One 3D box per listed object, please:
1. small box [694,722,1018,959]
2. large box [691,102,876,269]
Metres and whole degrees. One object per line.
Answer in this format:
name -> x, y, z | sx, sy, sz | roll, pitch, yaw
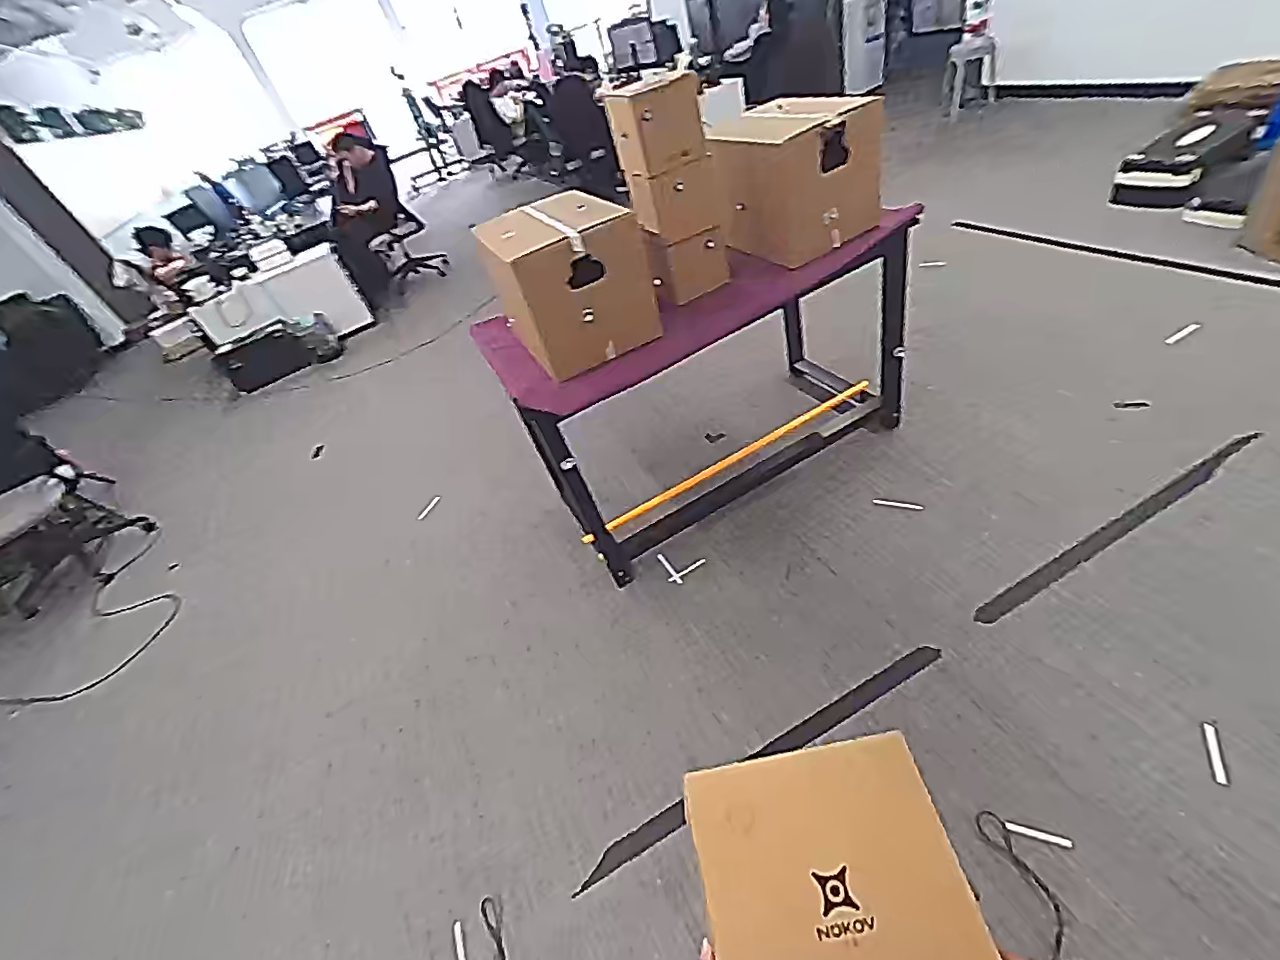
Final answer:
small box -> 0.134, 0.304, 0.395 | 0.168, 0.176, 0.179 | -10, 50, -2
large box -> 0.405, -0.838, 1.536 | 0.320, 0.320, 0.408 | -29, 40, -11
